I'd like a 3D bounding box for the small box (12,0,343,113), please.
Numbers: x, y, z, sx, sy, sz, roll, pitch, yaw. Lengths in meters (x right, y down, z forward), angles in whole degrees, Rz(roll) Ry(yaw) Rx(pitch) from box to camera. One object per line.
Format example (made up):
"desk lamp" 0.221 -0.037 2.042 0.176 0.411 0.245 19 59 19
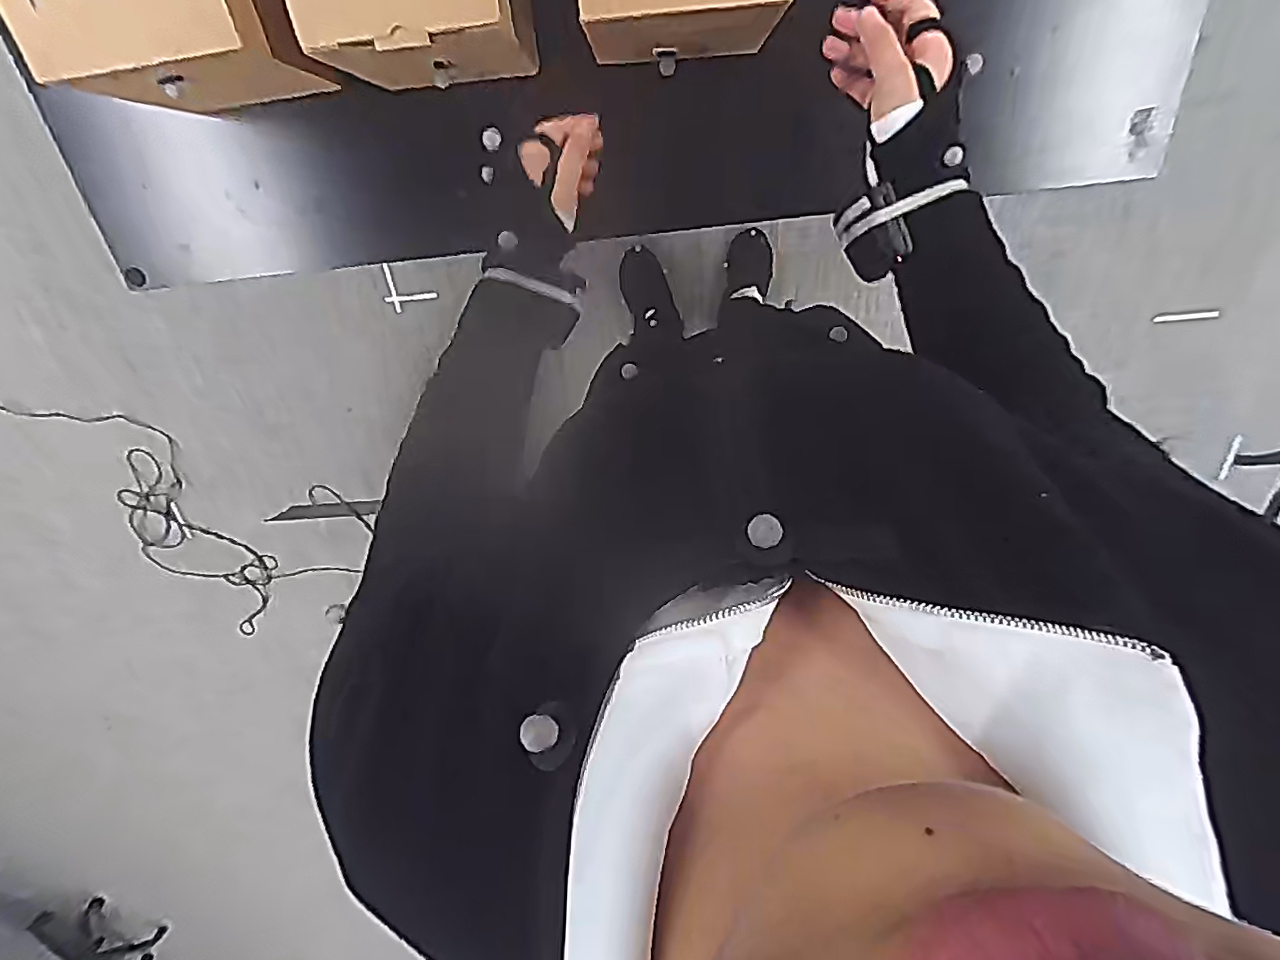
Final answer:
"small box" -0.408 -0.443 0.476 0.179 0.176 0.168 -7 117 3

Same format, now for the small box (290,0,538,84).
"small box" -0.194 -0.461 0.465 0.168 0.176 0.179 -4 117 3

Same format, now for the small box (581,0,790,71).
"small box" 0.031 -0.476 0.456 0.168 0.176 0.179 -3 118 4
